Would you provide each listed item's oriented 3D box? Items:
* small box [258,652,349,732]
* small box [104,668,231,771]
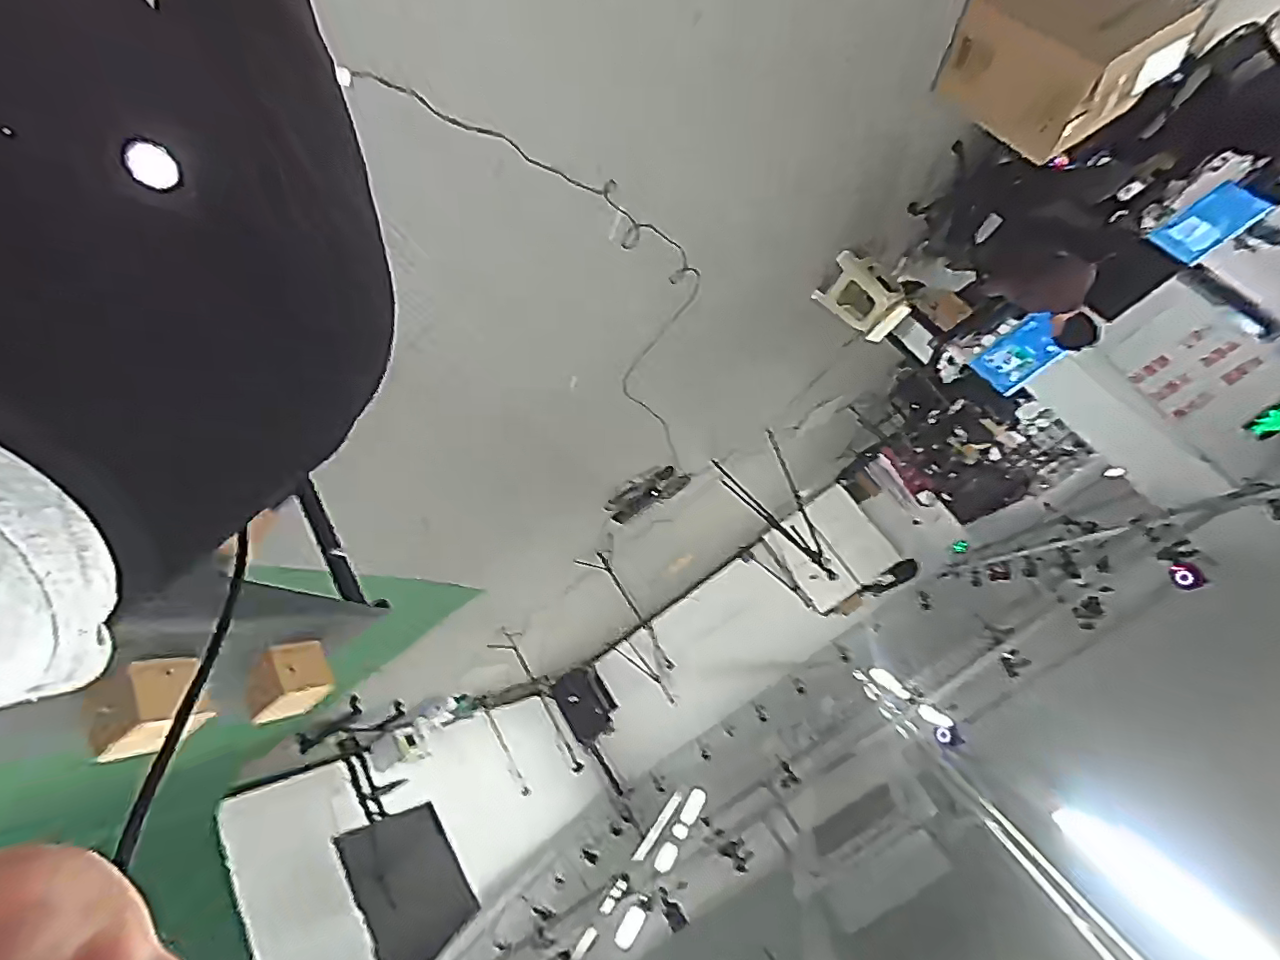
[{"bbox_3d":[-1.080,0.665,1.726,0.179,0.176,0.168,-39,157,14],"label":"small box"},{"bbox_3d":[-1.213,0.604,1.386,0.168,0.176,0.179,-37,158,3],"label":"small box"}]
